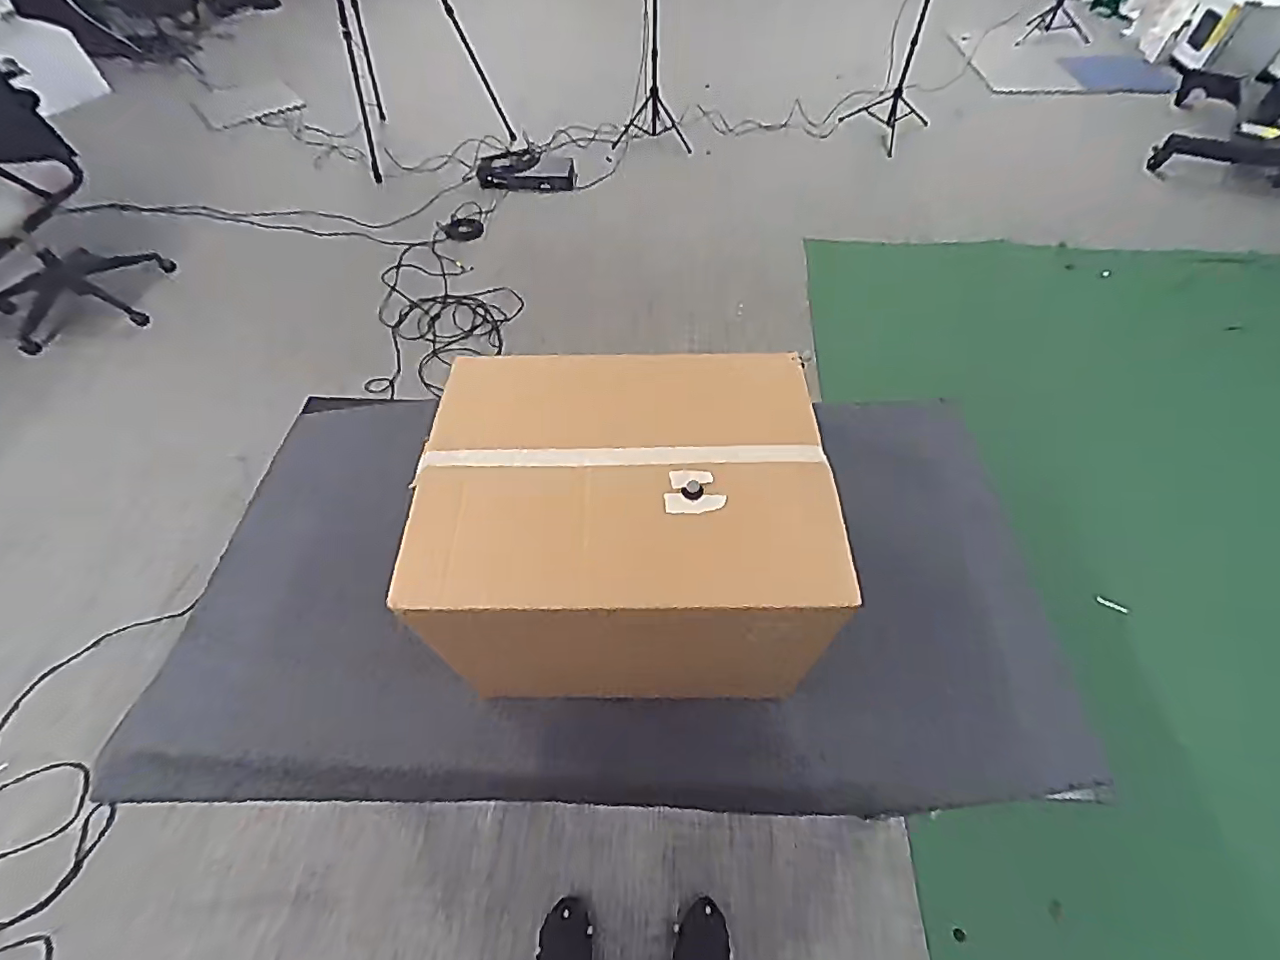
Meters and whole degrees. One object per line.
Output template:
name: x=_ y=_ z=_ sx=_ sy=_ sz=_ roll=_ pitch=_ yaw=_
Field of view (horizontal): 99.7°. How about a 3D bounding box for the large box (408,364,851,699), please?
large box: x=-0.012 y=0.075 z=0.683 sx=0.408 sy=0.320 sz=0.320 roll=-1 pitch=55 yaw=0
